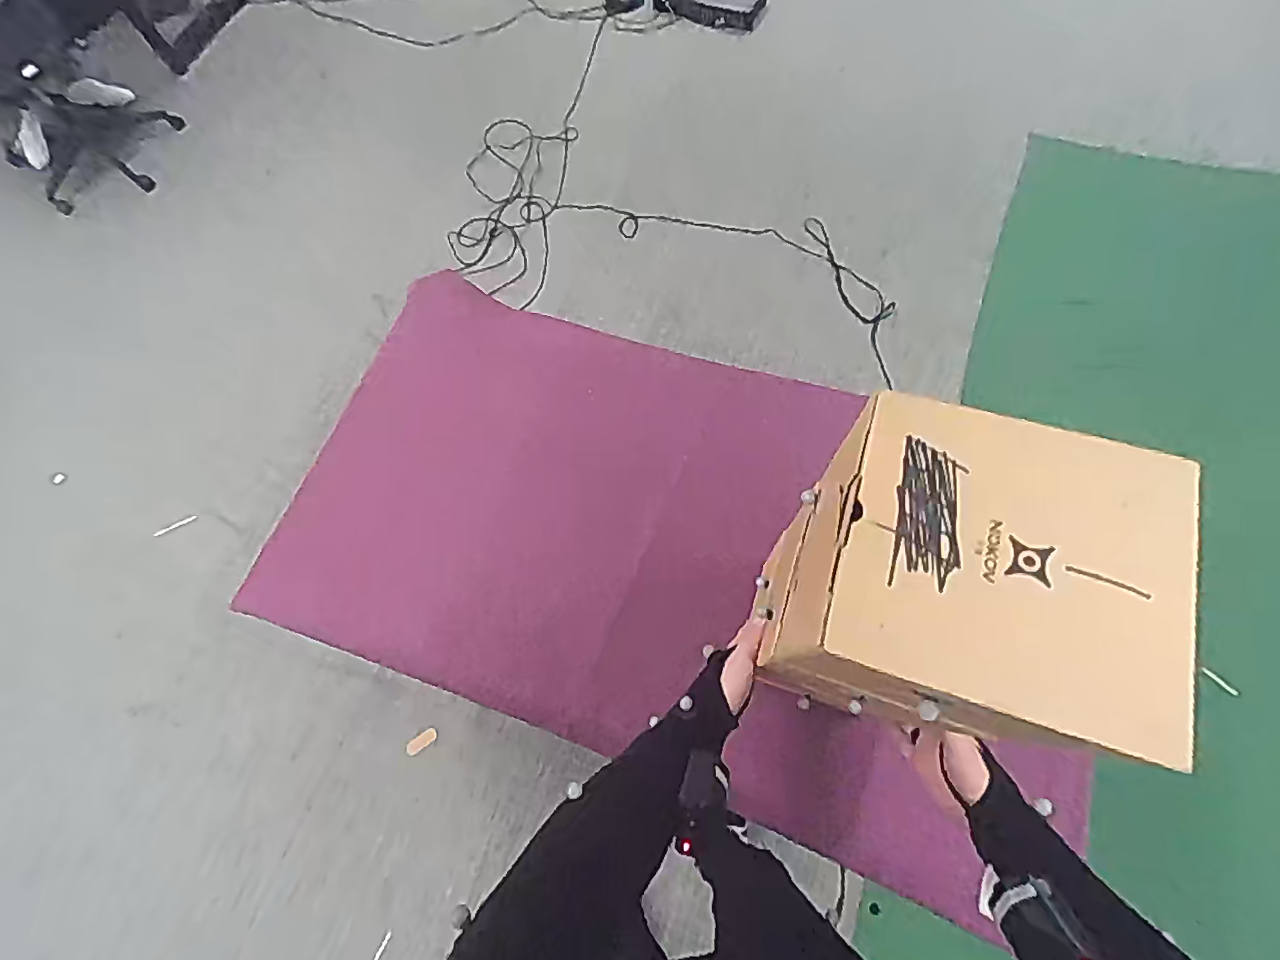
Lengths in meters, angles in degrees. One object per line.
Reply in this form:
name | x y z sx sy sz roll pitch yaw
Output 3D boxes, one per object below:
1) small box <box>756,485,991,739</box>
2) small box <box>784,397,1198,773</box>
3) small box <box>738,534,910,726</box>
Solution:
small box | 0.220 0.128 0.521 0.179 0.176 0.168 18 73 12
small box | 0.209 0.071 0.368 0.179 0.176 0.168 17 73 11
small box | 0.233 0.186 0.674 0.179 0.176 0.168 16 72 11
